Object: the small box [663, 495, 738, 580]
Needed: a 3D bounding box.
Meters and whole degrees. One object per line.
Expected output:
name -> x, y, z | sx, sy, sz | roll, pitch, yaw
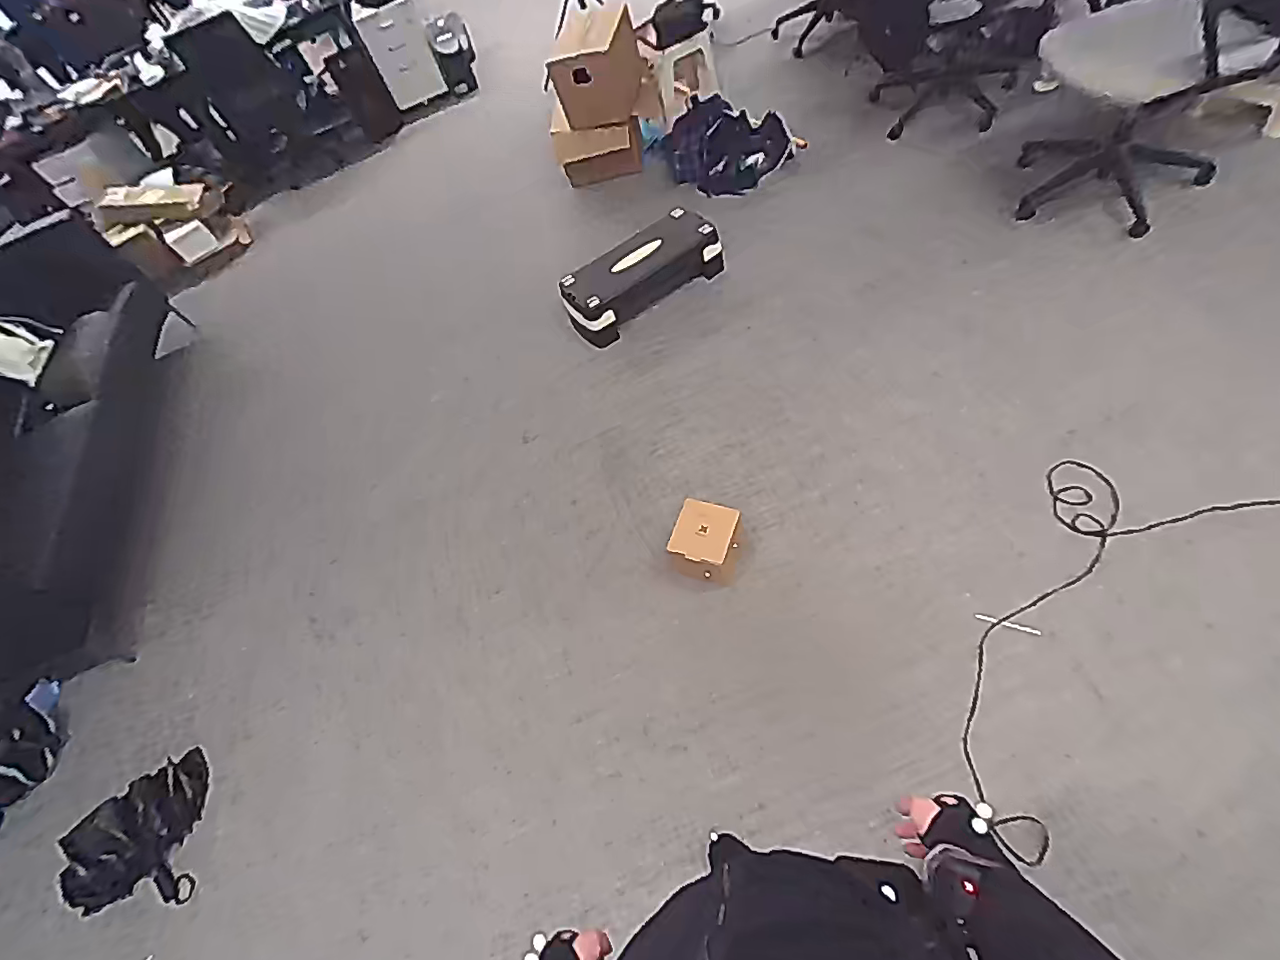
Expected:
small box -> 0.186, 0.173, 1.592 | 0.168, 0.176, 0.179 | 13, 62, 22
